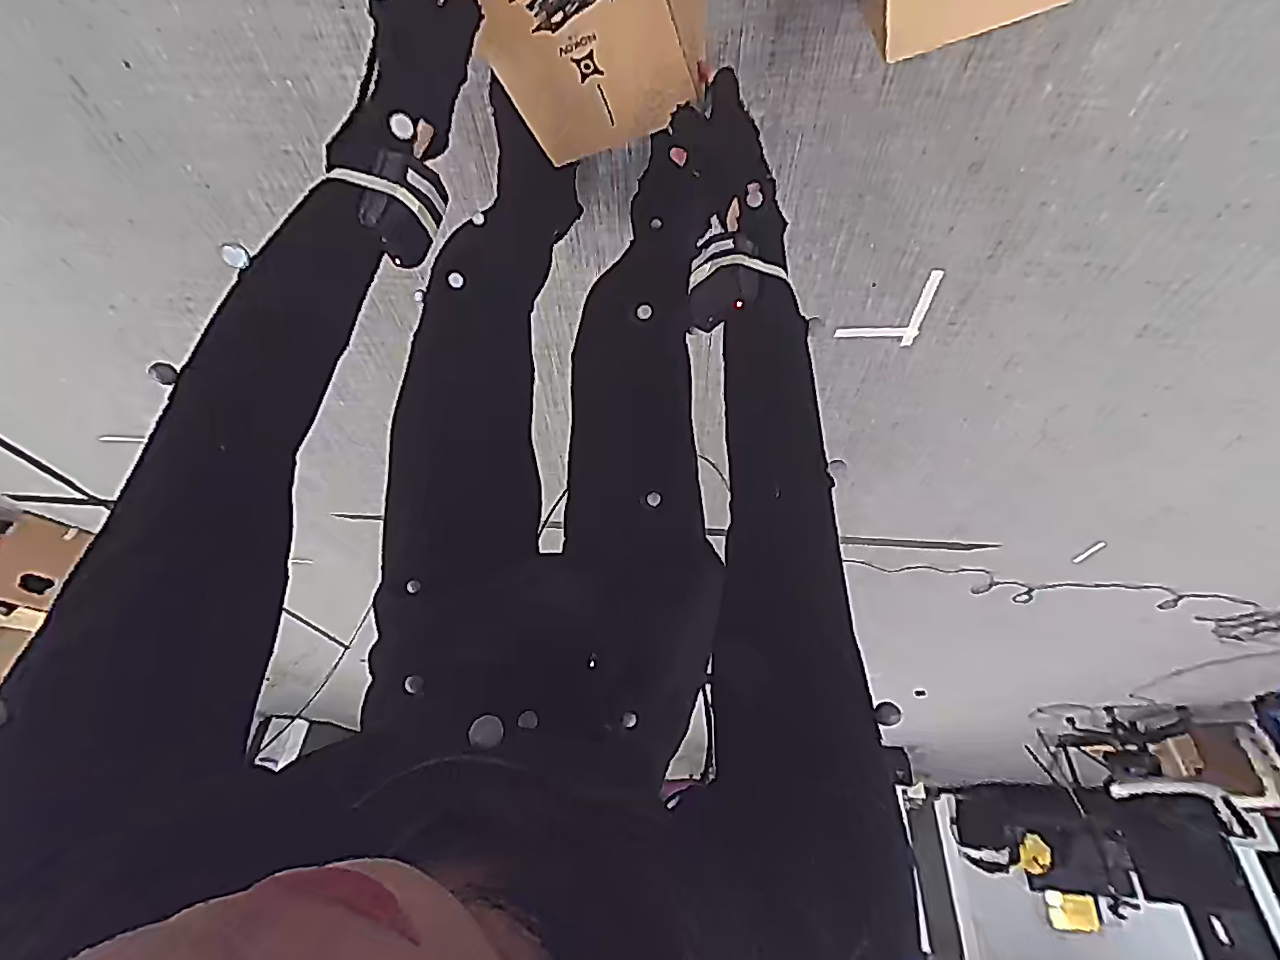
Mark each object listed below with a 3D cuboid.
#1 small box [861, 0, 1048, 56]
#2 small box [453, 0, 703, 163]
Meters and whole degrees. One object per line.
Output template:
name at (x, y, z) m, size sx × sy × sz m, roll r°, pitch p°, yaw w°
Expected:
small box at (0.315, -0.566, 0.524) m, size 0.179 × 0.176 × 0.168 m, roll -8°, pitch 144°, yaw 19°
small box at (-0.046, -0.440, 0.485) m, size 0.168 × 0.176 × 0.179 m, roll -6°, pitch 156°, yaw 22°
